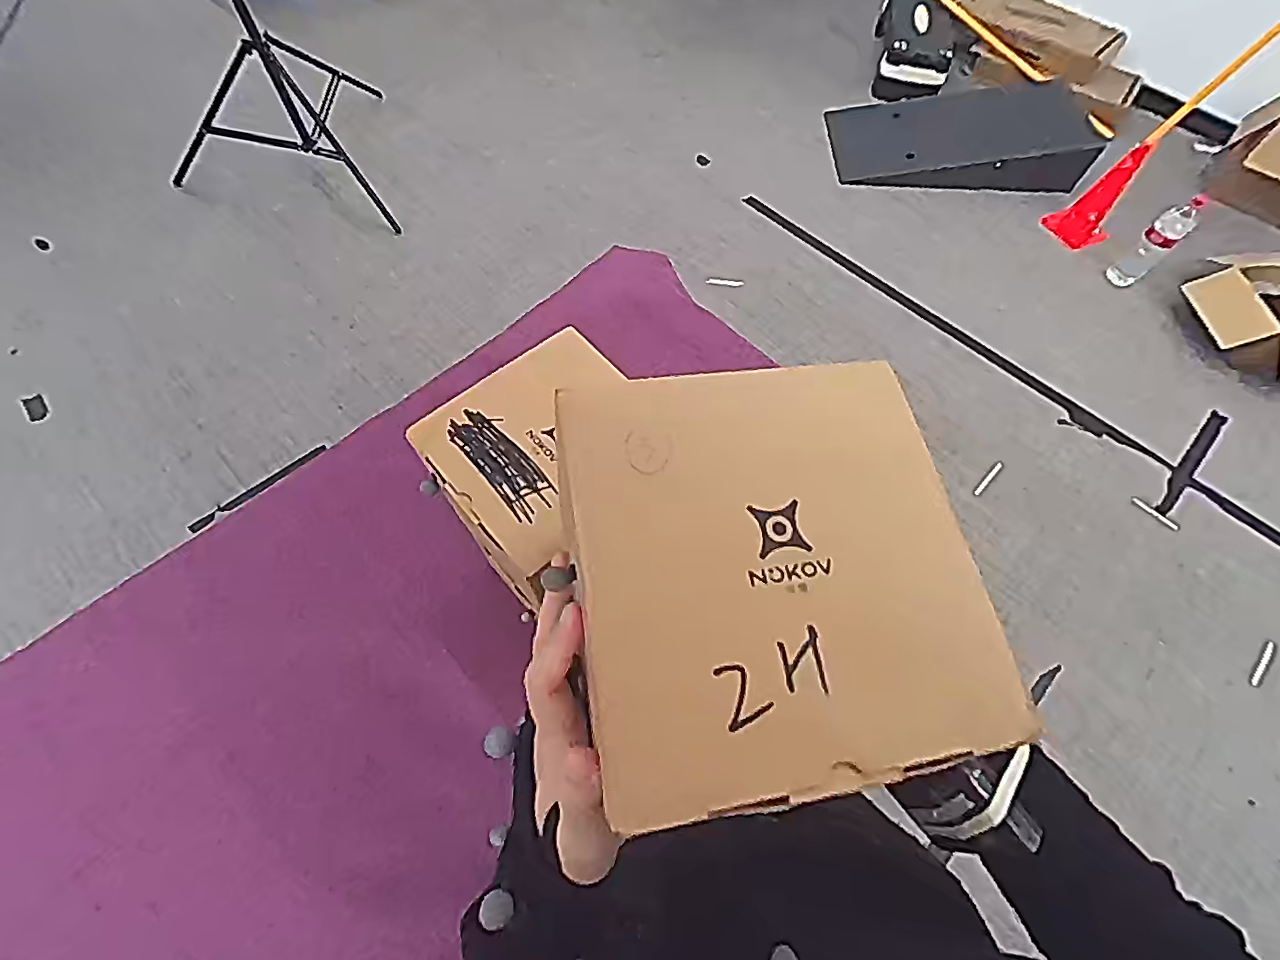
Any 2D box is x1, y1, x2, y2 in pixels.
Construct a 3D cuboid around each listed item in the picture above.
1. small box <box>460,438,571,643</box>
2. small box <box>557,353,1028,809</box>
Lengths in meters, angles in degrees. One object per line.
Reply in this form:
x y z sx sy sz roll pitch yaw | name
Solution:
-0.083 0.074 0.659 0.179 0.176 0.168 -39 72 -19 | small box
0.044 0.055 0.295 0.168 0.176 0.179 -7 67 -10 | small box
